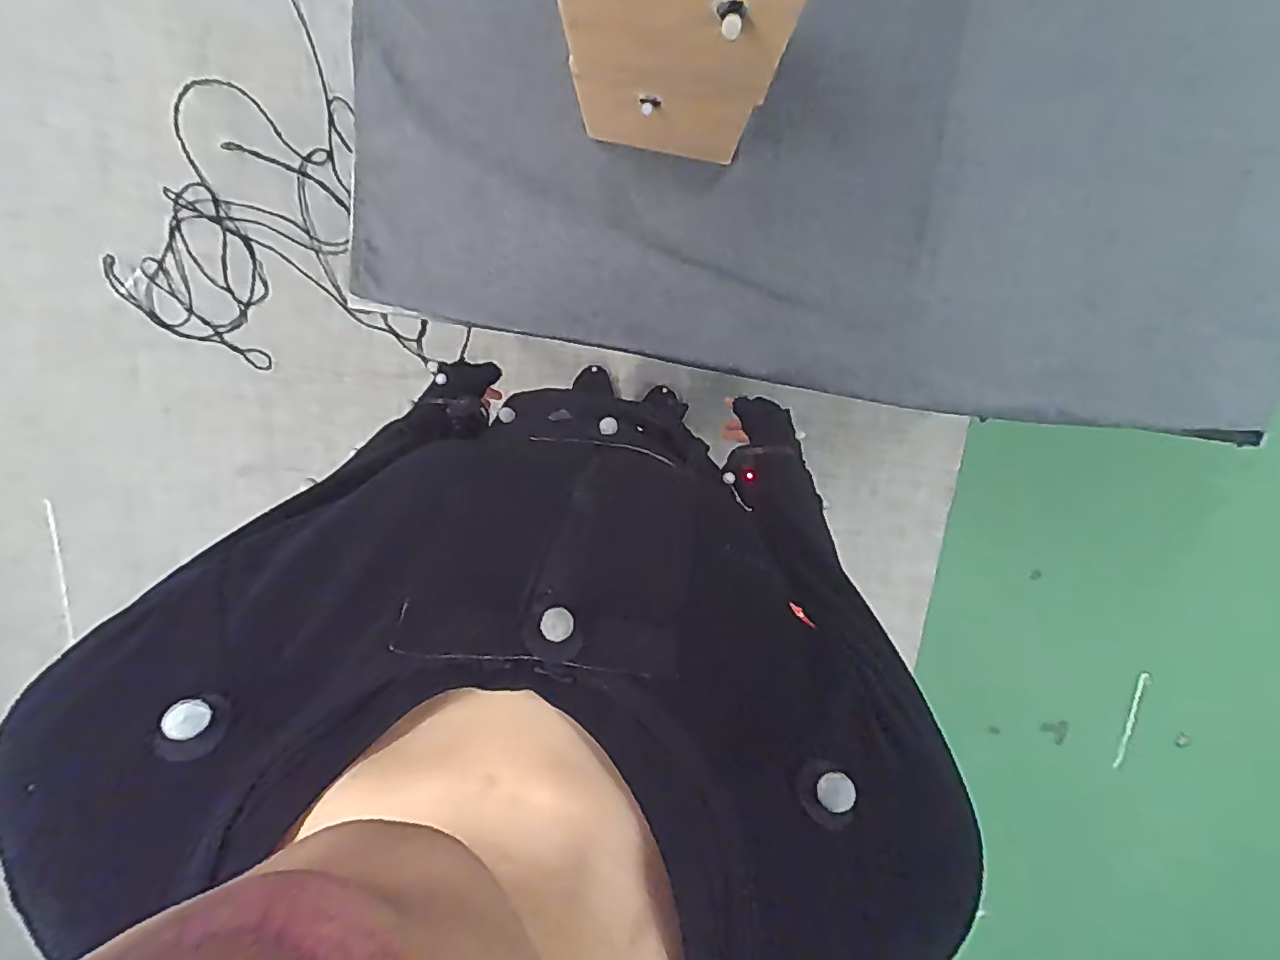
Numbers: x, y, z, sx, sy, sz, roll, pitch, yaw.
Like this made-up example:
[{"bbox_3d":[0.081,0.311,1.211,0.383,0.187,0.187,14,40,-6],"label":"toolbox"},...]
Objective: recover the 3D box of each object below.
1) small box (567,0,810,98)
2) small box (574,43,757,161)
[{"bbox_3d":[0.042,-0.424,0.407,0.179,0.176,0.168,9,101,-1],"label":"small box"},{"bbox_3d":[0.038,-0.463,0.567,0.179,0.176,0.168,10,101,-2],"label":"small box"}]
